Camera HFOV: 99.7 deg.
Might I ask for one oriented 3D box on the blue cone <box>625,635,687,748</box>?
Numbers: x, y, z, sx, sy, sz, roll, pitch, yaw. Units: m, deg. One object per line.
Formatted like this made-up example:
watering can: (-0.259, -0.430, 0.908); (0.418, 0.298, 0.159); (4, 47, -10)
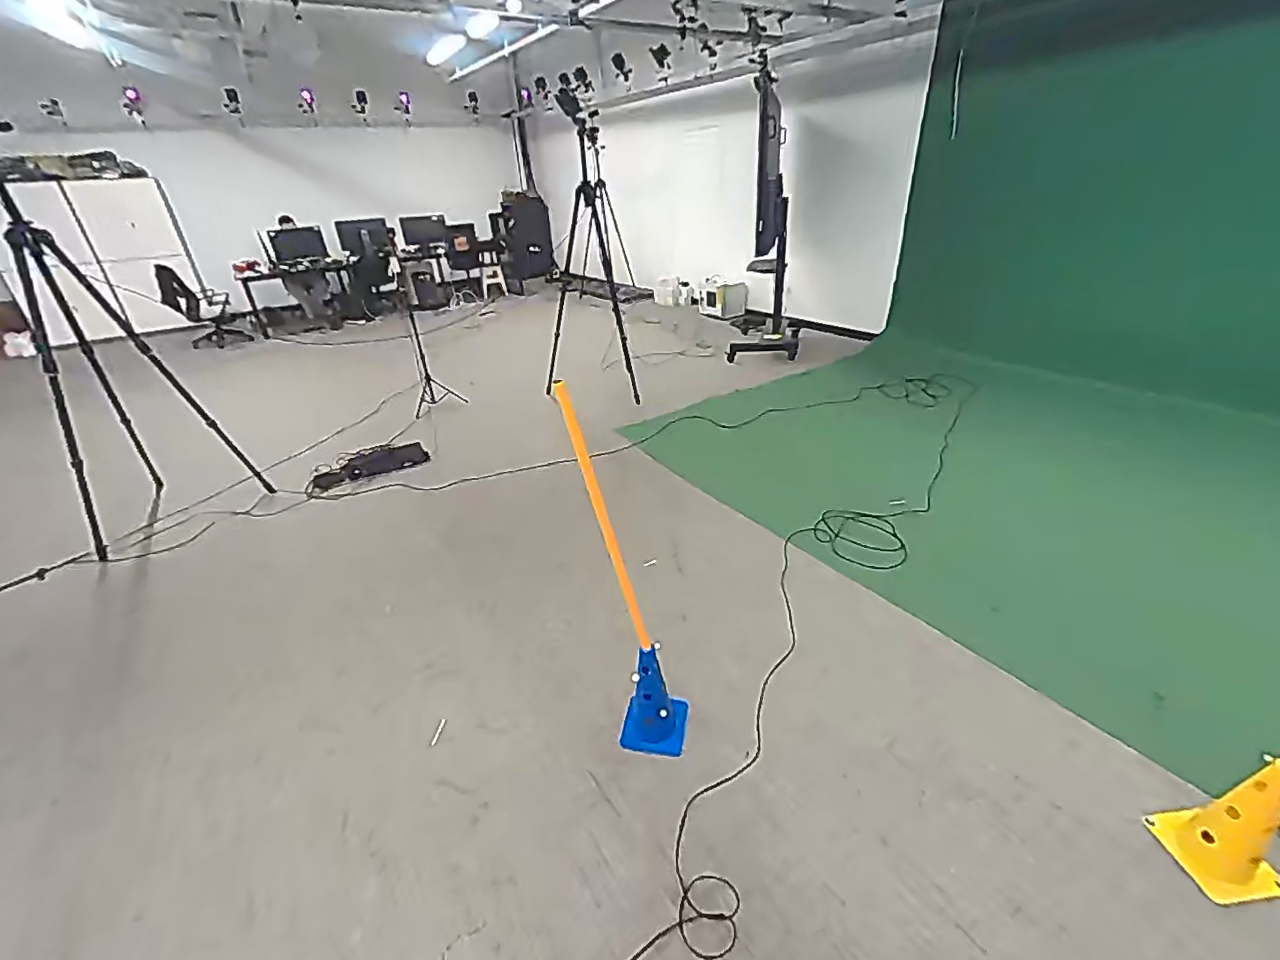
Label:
blue cone: (0.036, 0.627, 1.650); (0.193, 0.380, 0.192); (0, 31, 11)
